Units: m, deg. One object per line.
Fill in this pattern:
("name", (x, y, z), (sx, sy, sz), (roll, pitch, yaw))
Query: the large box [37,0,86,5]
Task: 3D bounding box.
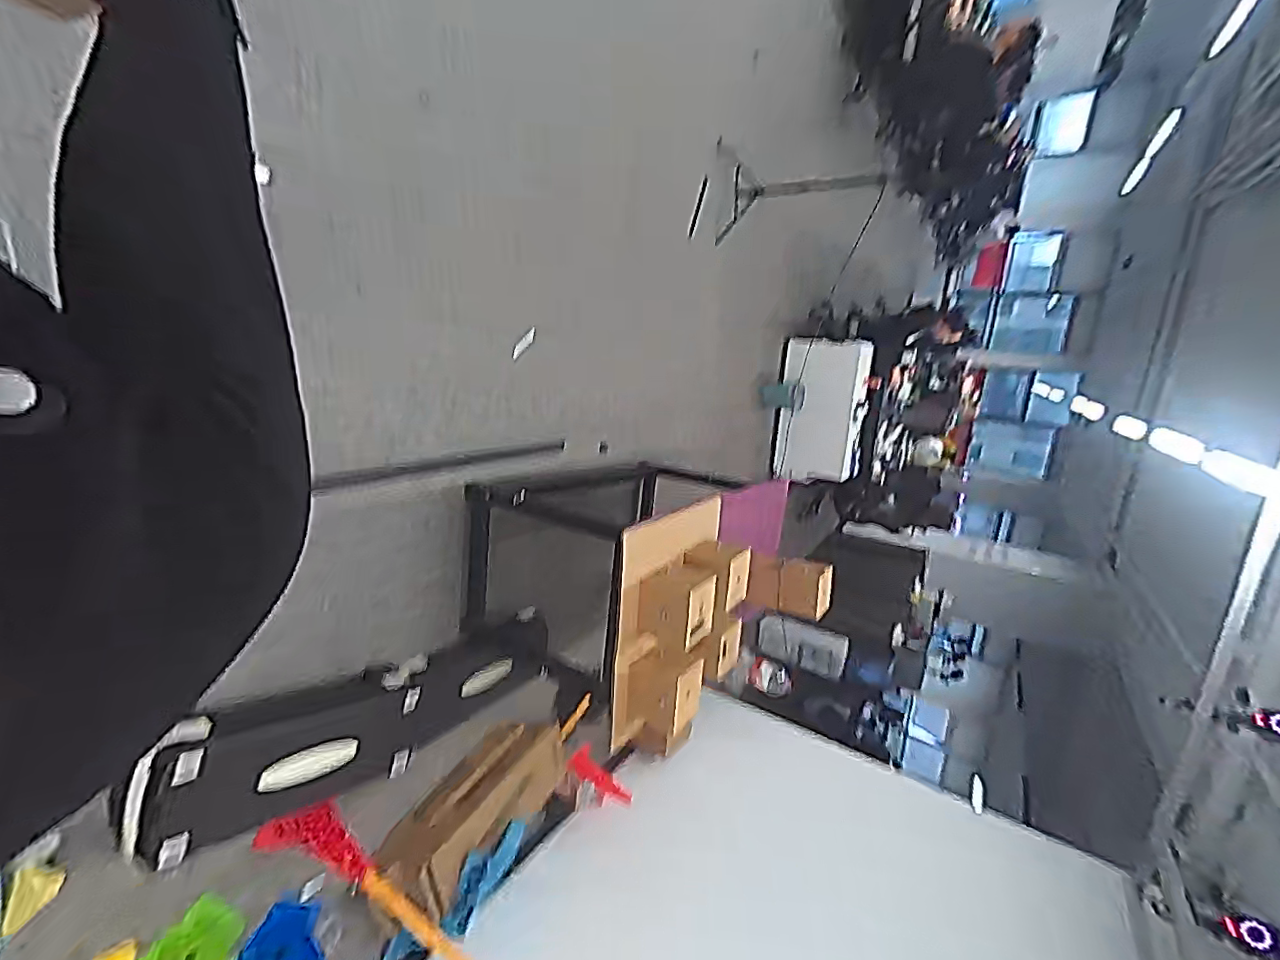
("large box", (-0.567, -0.573, 0.299), (0.408, 0.320, 0.320), (-1, 112, -56))
